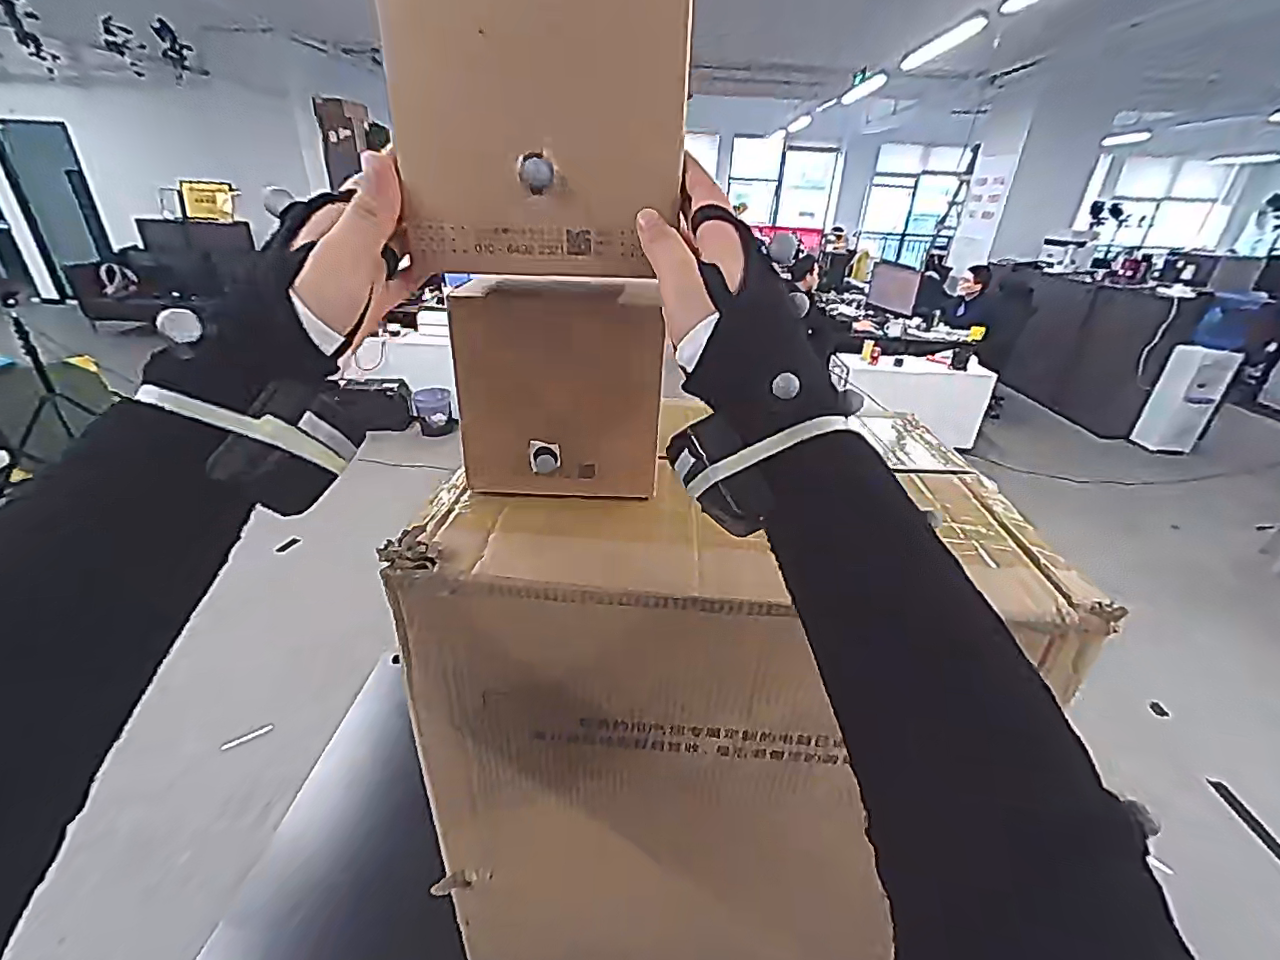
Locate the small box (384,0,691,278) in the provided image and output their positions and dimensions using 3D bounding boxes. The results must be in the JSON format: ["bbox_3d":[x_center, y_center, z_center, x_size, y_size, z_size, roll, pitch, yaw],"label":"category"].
[{"bbox_3d":[-0.057,-0.236,0.371,0.168,0.176,0.179,0,24,-1],"label":"small box"}]

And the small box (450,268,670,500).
[{"bbox_3d":[-0.066,-0.096,0.506,0.168,0.176,0.179,0,28,-3],"label":"small box"}]
